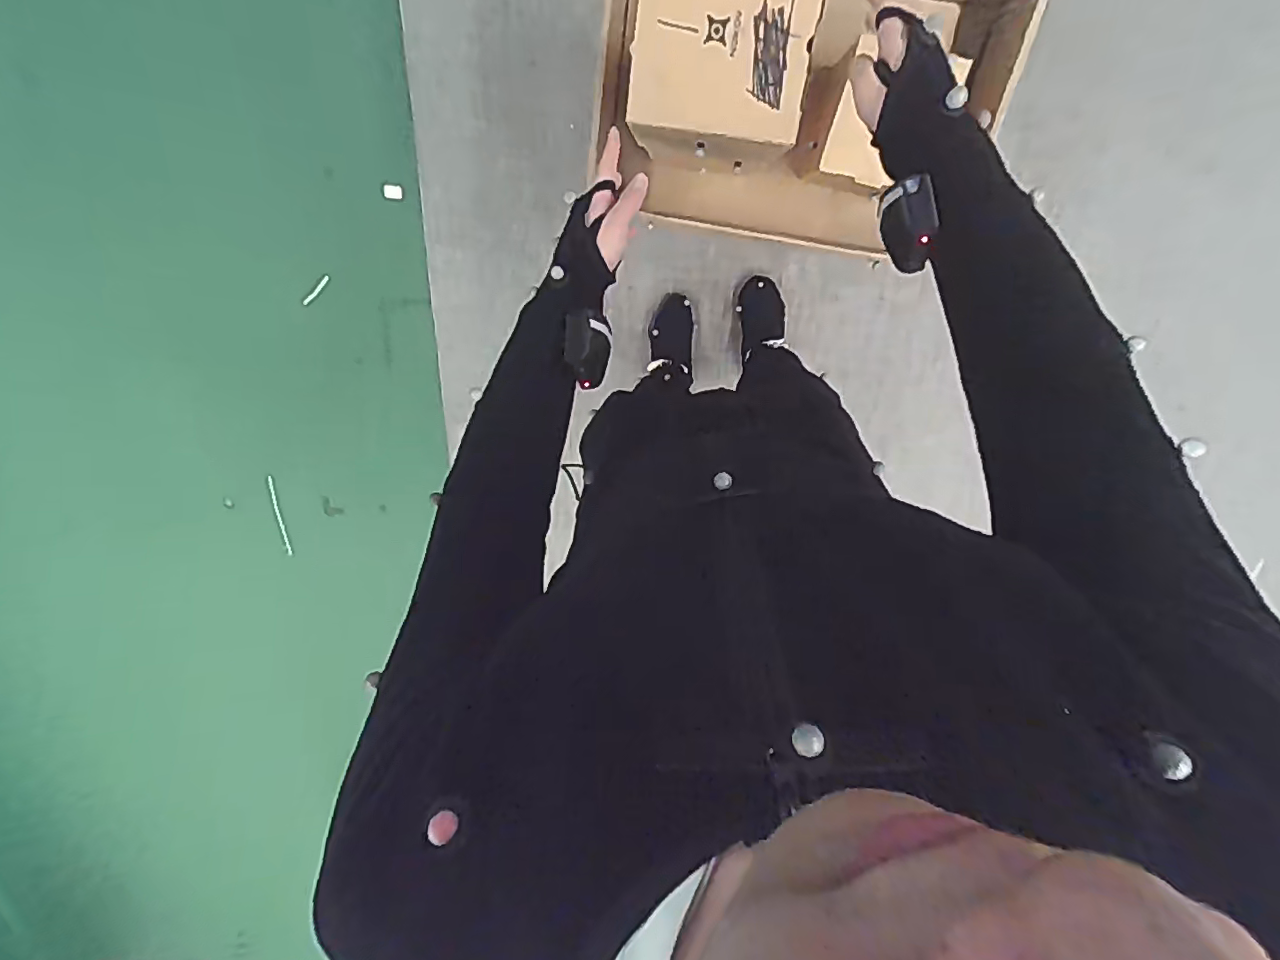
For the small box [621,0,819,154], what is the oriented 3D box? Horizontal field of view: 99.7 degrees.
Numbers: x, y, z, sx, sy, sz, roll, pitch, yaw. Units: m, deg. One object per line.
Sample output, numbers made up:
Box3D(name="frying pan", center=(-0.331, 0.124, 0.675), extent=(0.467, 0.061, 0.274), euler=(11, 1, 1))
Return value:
Box3D(name="small box", center=(0.085, -0.467, 0.591), extent=(0.179, 0.176, 0.168), euler=(9, 116, 3))
